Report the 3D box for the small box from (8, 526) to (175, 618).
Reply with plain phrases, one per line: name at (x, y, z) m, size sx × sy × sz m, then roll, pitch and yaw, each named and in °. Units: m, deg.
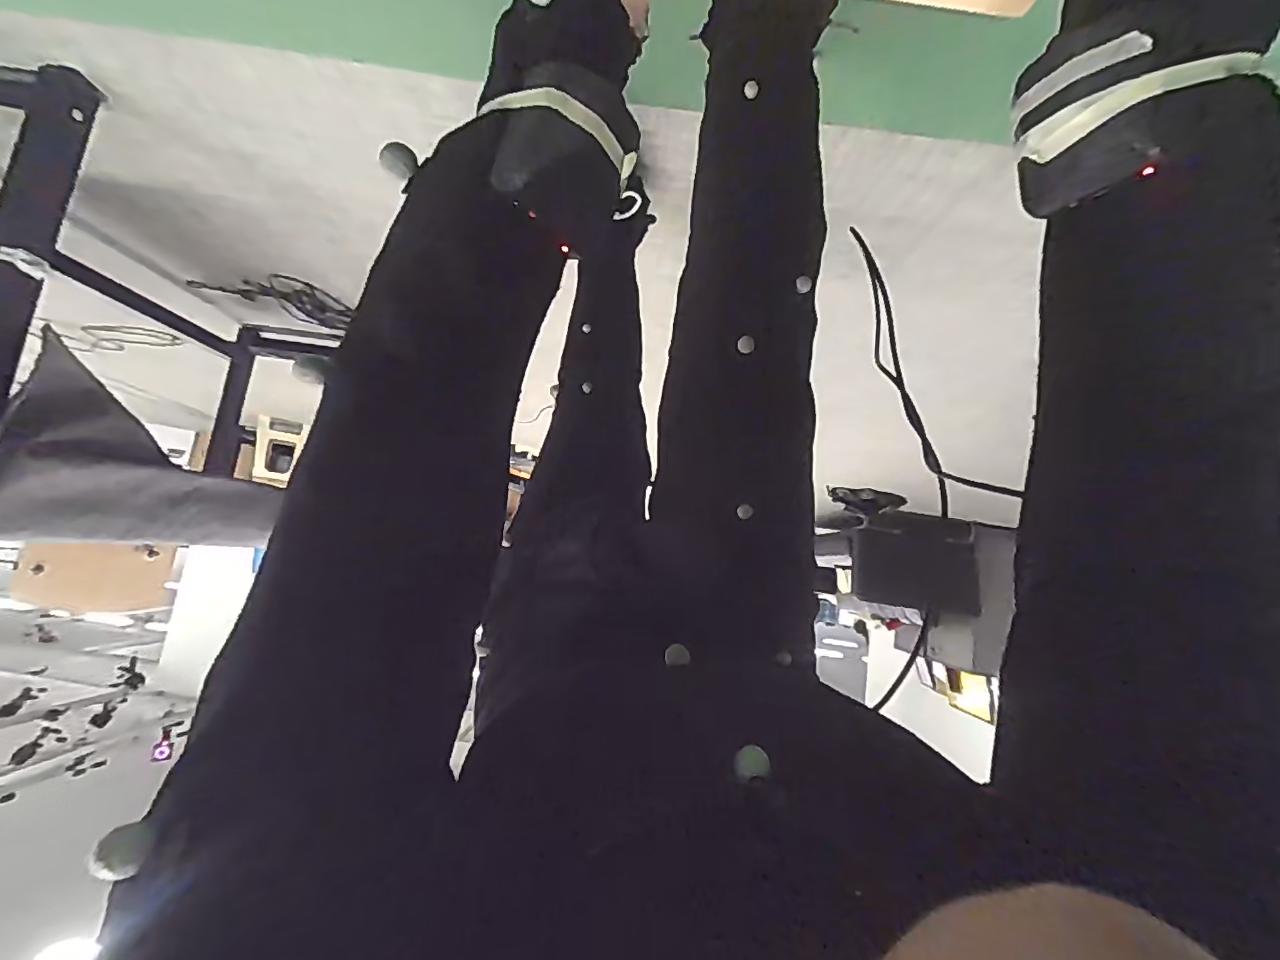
small box at (-1.156, 0.190, 1.156) m, size 0.179 × 0.176 × 0.168 m, roll 8°, pitch 173°, yaw 0°
